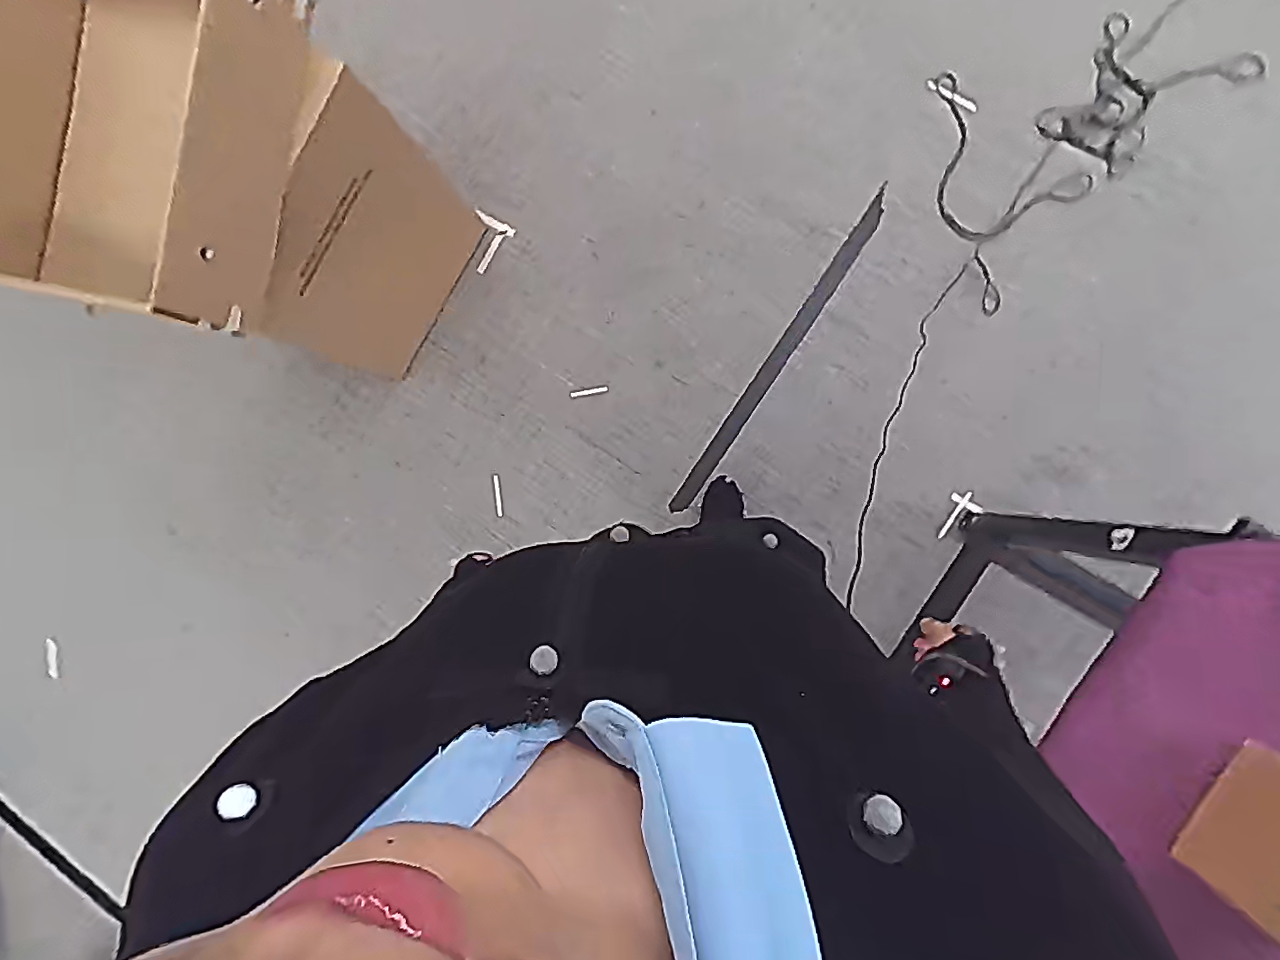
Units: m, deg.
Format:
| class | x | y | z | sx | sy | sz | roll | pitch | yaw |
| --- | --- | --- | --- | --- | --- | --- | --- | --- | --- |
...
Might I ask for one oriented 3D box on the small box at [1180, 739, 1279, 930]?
| class | x | y | z | sx | sy | sz | roll | pitch | yaw |
| --- | --- | --- | --- | --- | --- | --- | --- | --- | --- |
| small box | 0.765 | 0.424 | 0.586 | 0.168 | 0.176 | 0.179 | 29 | 94 | 6 |
